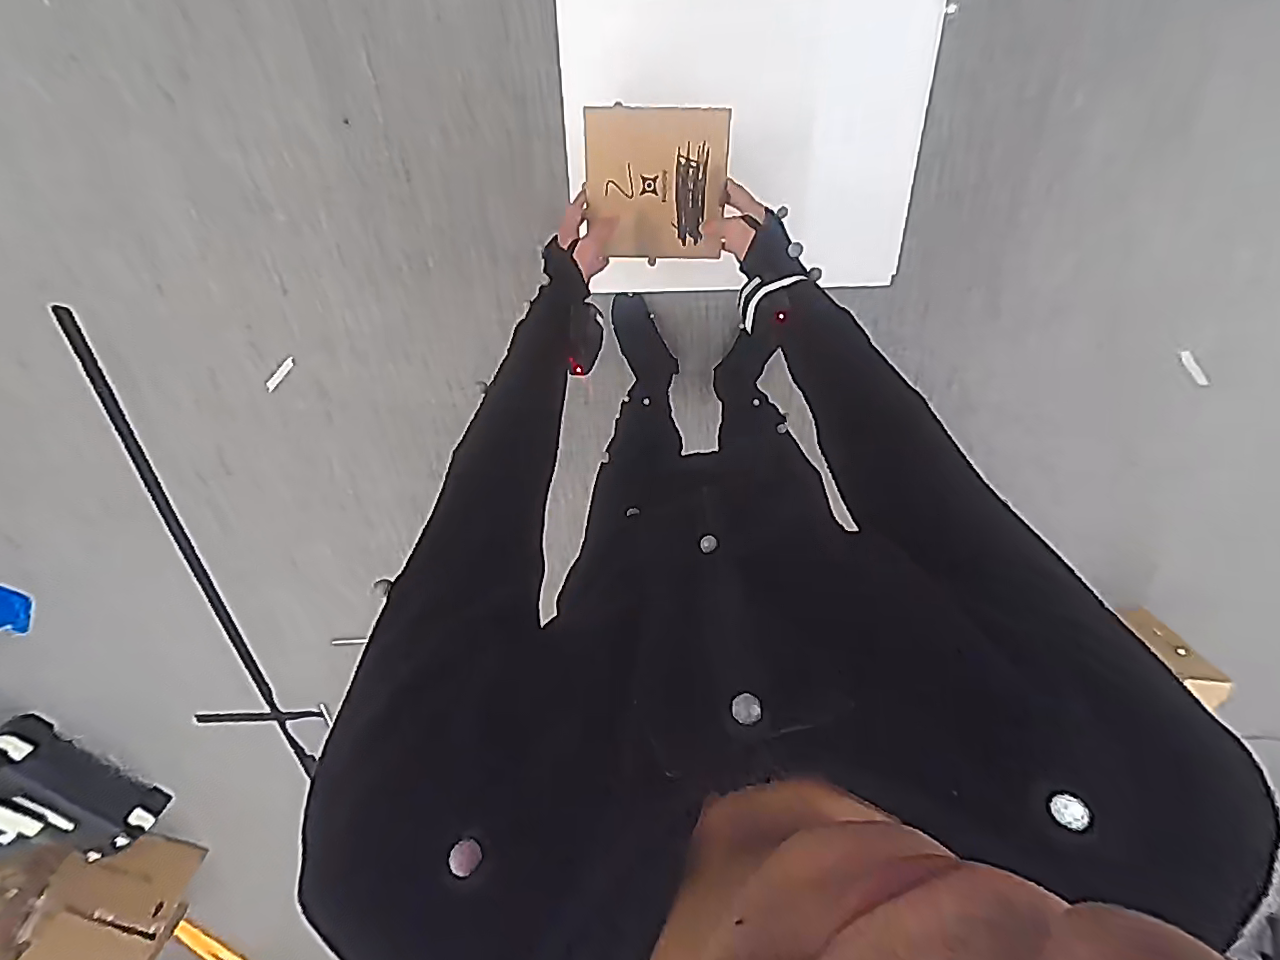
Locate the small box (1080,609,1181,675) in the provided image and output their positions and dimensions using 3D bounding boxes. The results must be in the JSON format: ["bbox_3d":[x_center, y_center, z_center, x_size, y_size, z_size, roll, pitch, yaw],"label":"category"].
[{"bbox_3d":[1.751,0.582,1.941,0.179,0.176,0.168,2,117,-2],"label":"small box"}]

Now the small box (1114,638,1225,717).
[{"bbox_3d":[1.739,0.653,1.792,0.168,0.176,0.179,5,117,-4],"label":"small box"}]
